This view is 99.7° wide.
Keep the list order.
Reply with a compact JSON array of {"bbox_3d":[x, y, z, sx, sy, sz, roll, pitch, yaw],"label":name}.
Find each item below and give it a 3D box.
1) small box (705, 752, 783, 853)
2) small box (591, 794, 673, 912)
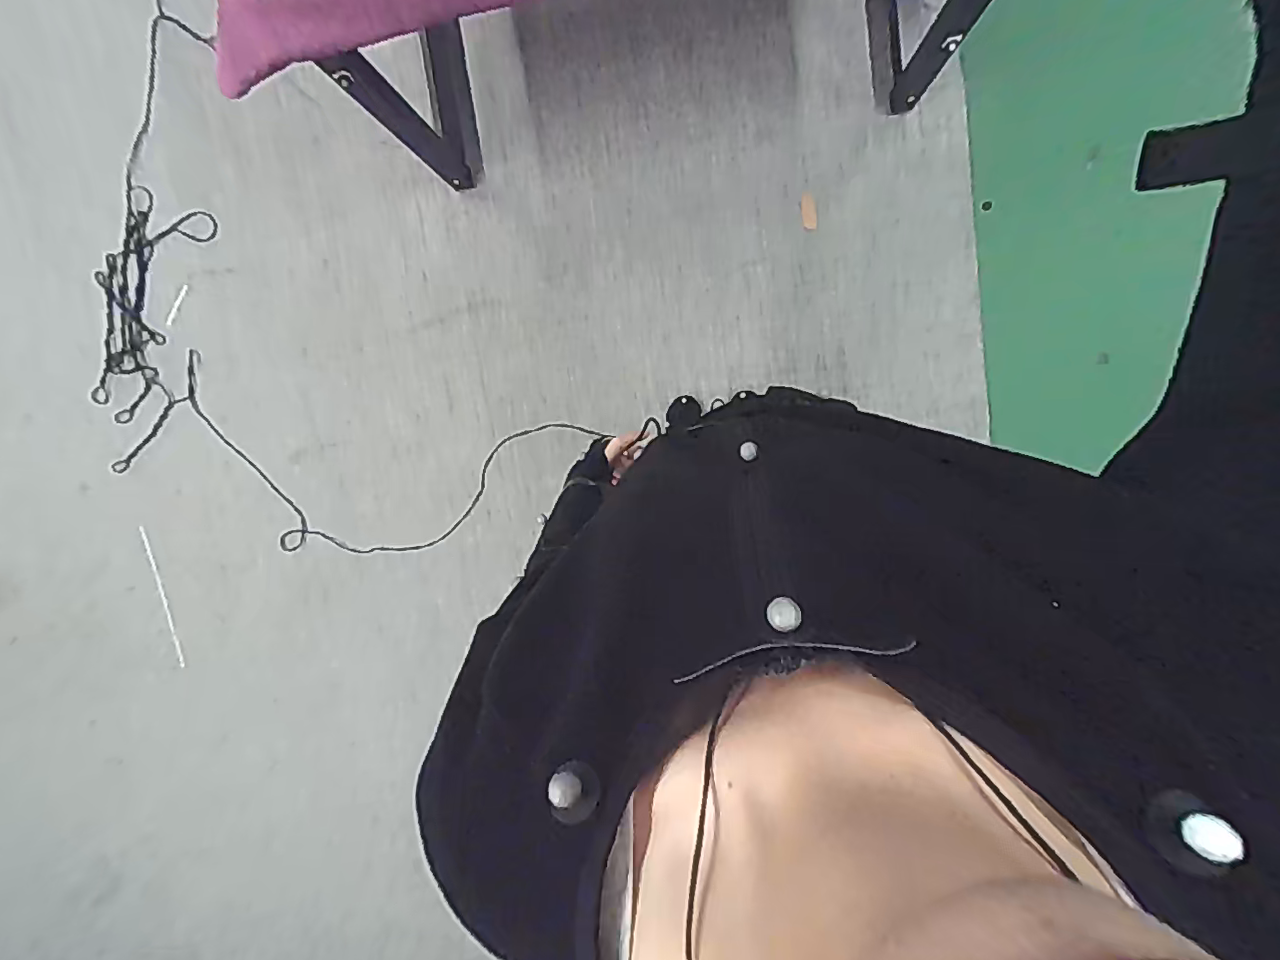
[{"bbox_3d":[0.278,0.875,1.483,0.179,0.176,0.168,-13,95,9],"label":"small box"},{"bbox_3d":[-0.013,0.929,1.356,0.168,0.176,0.179,-11,96,7],"label":"small box"}]
